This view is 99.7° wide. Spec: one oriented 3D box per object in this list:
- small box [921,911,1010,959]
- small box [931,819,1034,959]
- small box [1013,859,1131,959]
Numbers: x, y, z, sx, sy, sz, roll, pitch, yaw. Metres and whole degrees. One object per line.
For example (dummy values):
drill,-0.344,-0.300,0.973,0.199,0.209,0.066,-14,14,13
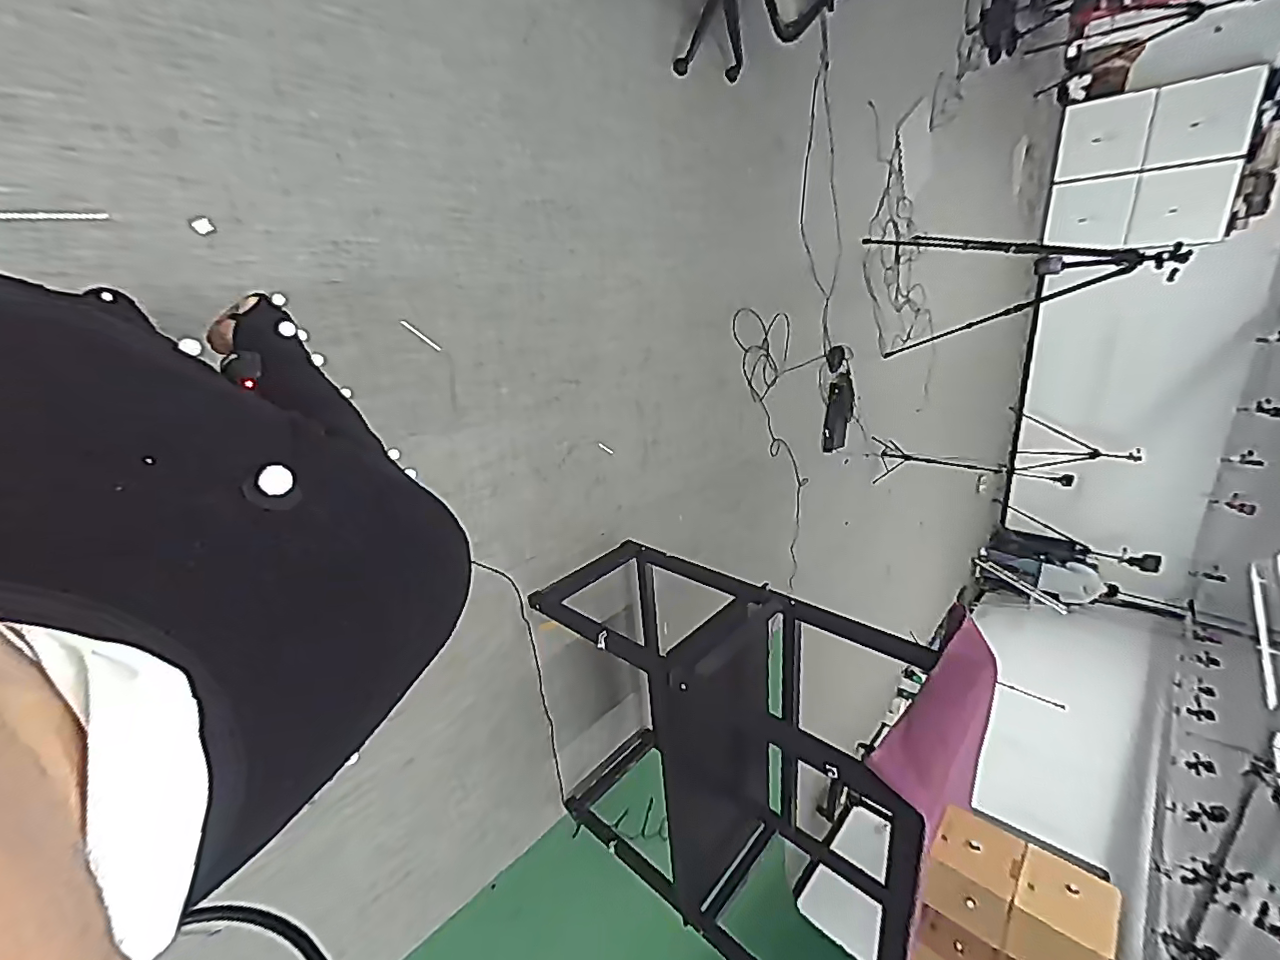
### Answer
small box,0.821,1.231,1.369,0.168,0.176,0.179,-25,118,-41
small box,0.794,0.935,1.260,0.168,0.176,0.179,-27,118,-41
small box,0.915,0.962,1.154,0.168,0.176,0.179,-28,121,-41
